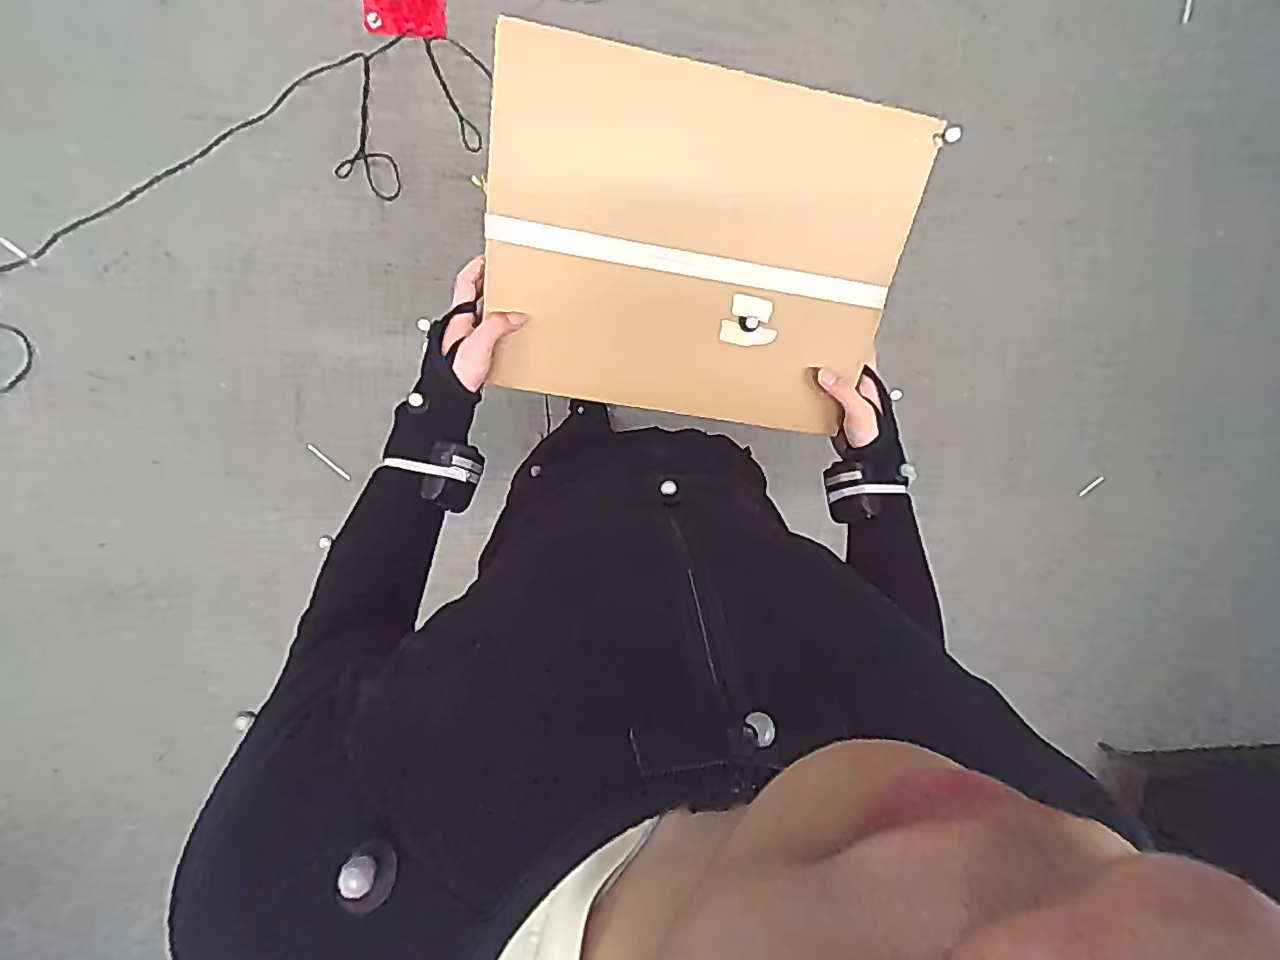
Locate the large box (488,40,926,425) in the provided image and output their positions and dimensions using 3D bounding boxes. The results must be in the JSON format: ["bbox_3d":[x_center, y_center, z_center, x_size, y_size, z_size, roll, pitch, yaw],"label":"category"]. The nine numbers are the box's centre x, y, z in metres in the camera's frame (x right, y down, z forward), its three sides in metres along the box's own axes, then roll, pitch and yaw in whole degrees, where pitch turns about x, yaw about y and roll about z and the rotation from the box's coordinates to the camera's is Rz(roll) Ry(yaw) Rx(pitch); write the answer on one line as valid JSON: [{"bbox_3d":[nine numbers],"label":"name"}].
[{"bbox_3d":[0.040,-0.281,0.674,0.408,0.320,0.320,6,116,-8],"label":"large box"}]
